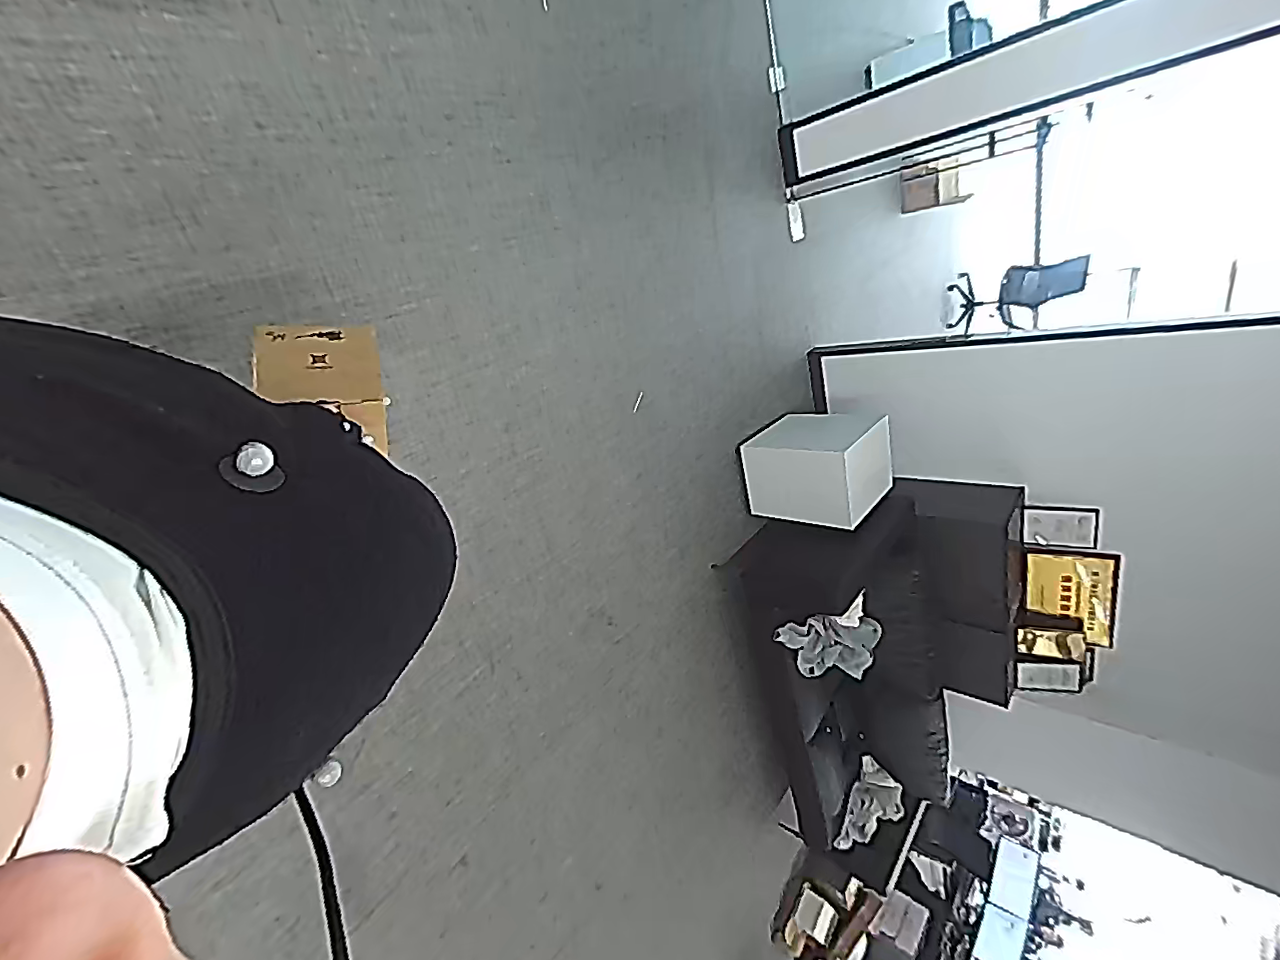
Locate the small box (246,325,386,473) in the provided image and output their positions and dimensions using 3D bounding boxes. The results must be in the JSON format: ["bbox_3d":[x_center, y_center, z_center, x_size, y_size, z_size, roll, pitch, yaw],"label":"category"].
[{"bbox_3d":[-0.517,-0.126,0.876,0.168,0.179,0.176,-10,146,-27],"label":"small box"}]
